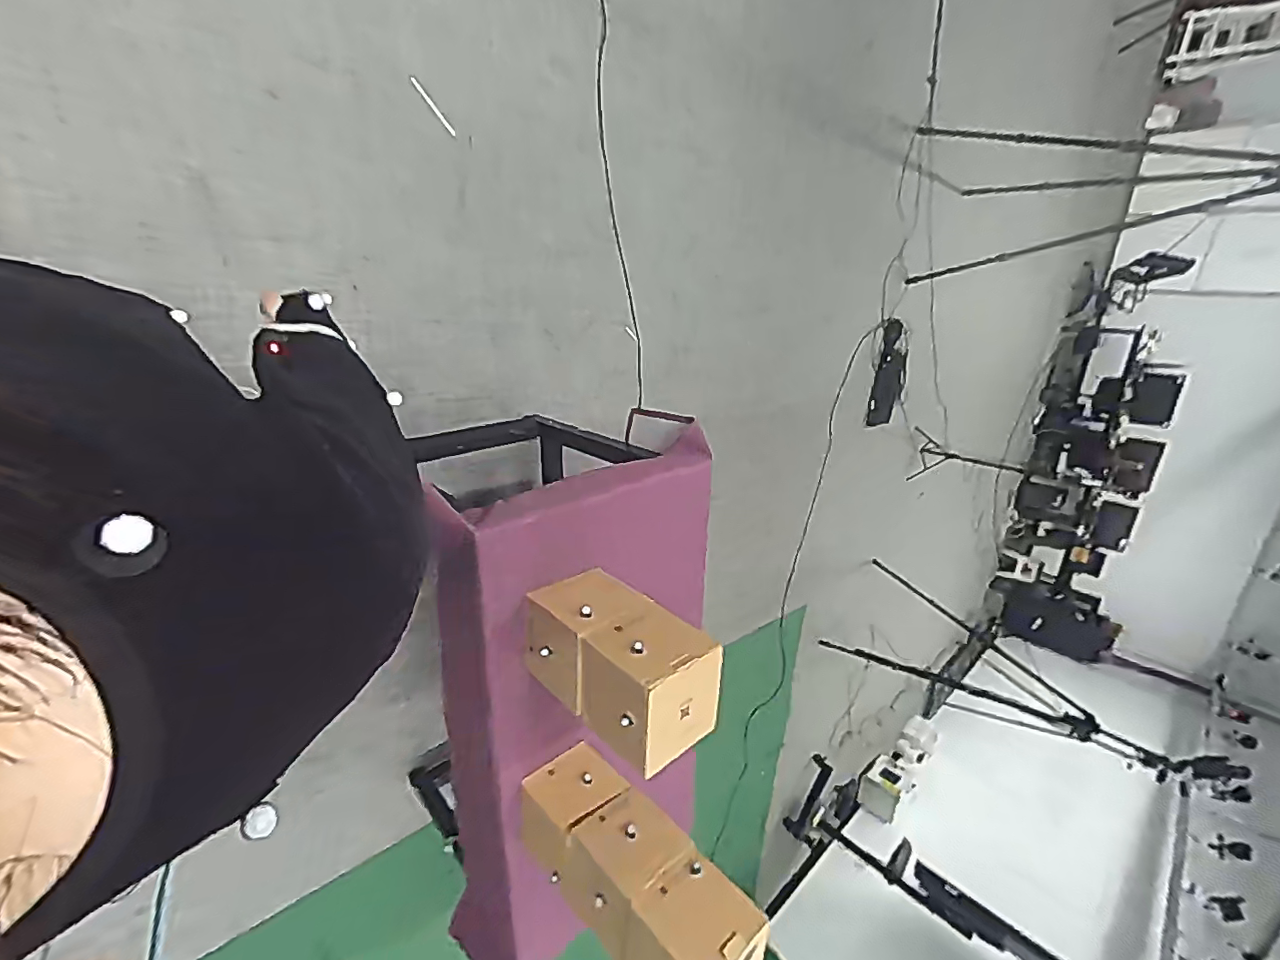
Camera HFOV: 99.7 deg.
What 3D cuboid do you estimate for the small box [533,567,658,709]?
[{"bbox_3d":[-0.089,0.286,1.021,0.179,0.176,0.168,-14,116,-41],"label":"small box"}]

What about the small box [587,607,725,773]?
[{"bbox_3d":[0.022,0.335,0.911,0.168,0.176,0.179,-15,116,-39],"label":"small box"}]

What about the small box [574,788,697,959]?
[{"bbox_3d":[-0.013,0.731,1.033,0.168,0.176,0.179,-11,113,-42],"label":"small box"}]

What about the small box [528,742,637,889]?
[{"bbox_3d":[-0.125,0.693,1.148,0.168,0.176,0.179,-16,117,-40],"label":"small box"}]

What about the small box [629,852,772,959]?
[{"bbox_3d":[0.097,0.784,0.922,0.168,0.176,0.179,-11,115,-42],"label":"small box"}]
